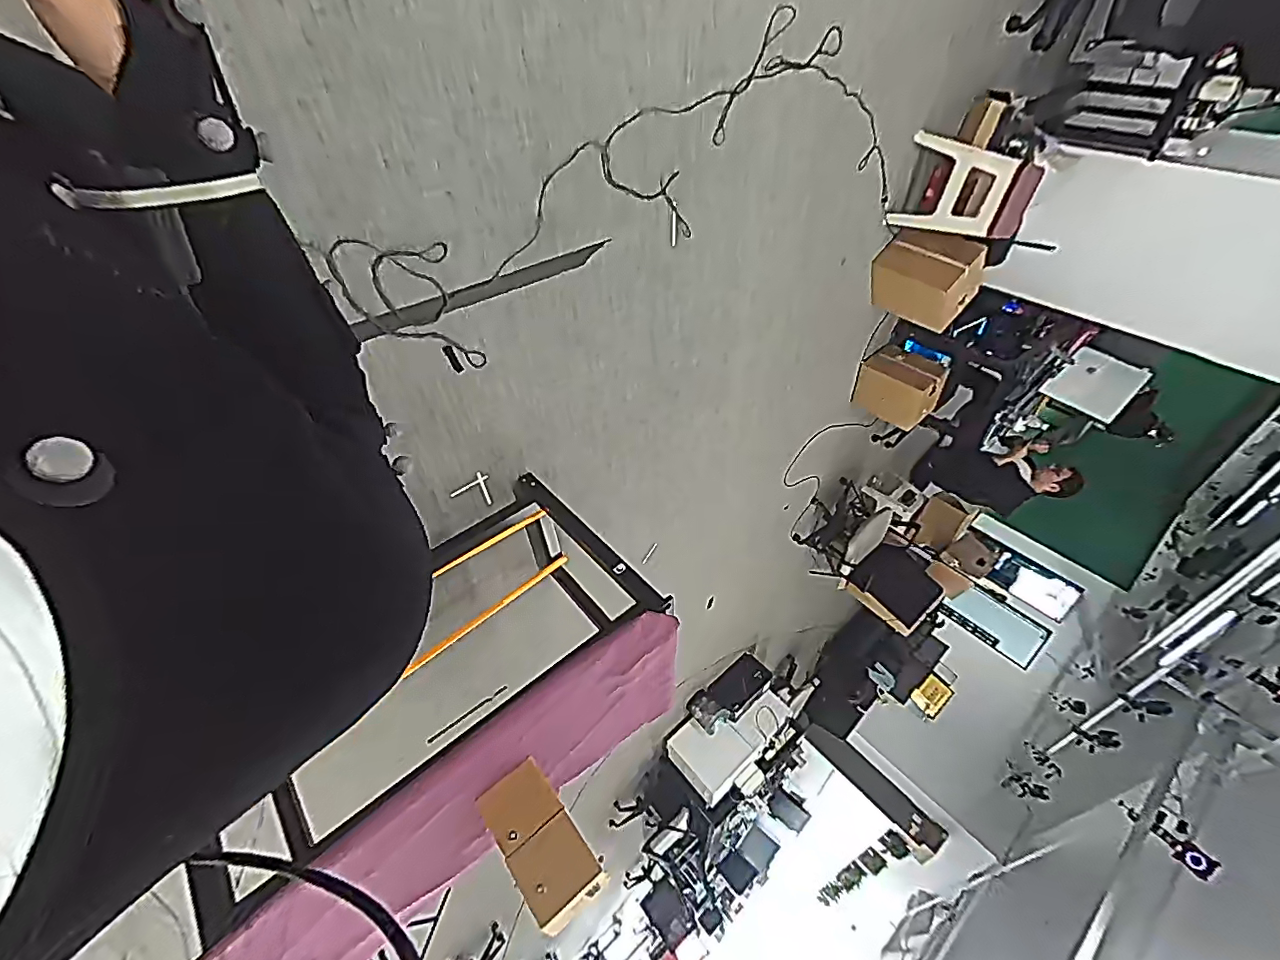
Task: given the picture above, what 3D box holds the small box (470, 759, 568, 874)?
[{"bbox_3d":[-0.314,0.876,1.418,0.179,0.176,0.168,-32,142,-26],"label":"small box"}]
